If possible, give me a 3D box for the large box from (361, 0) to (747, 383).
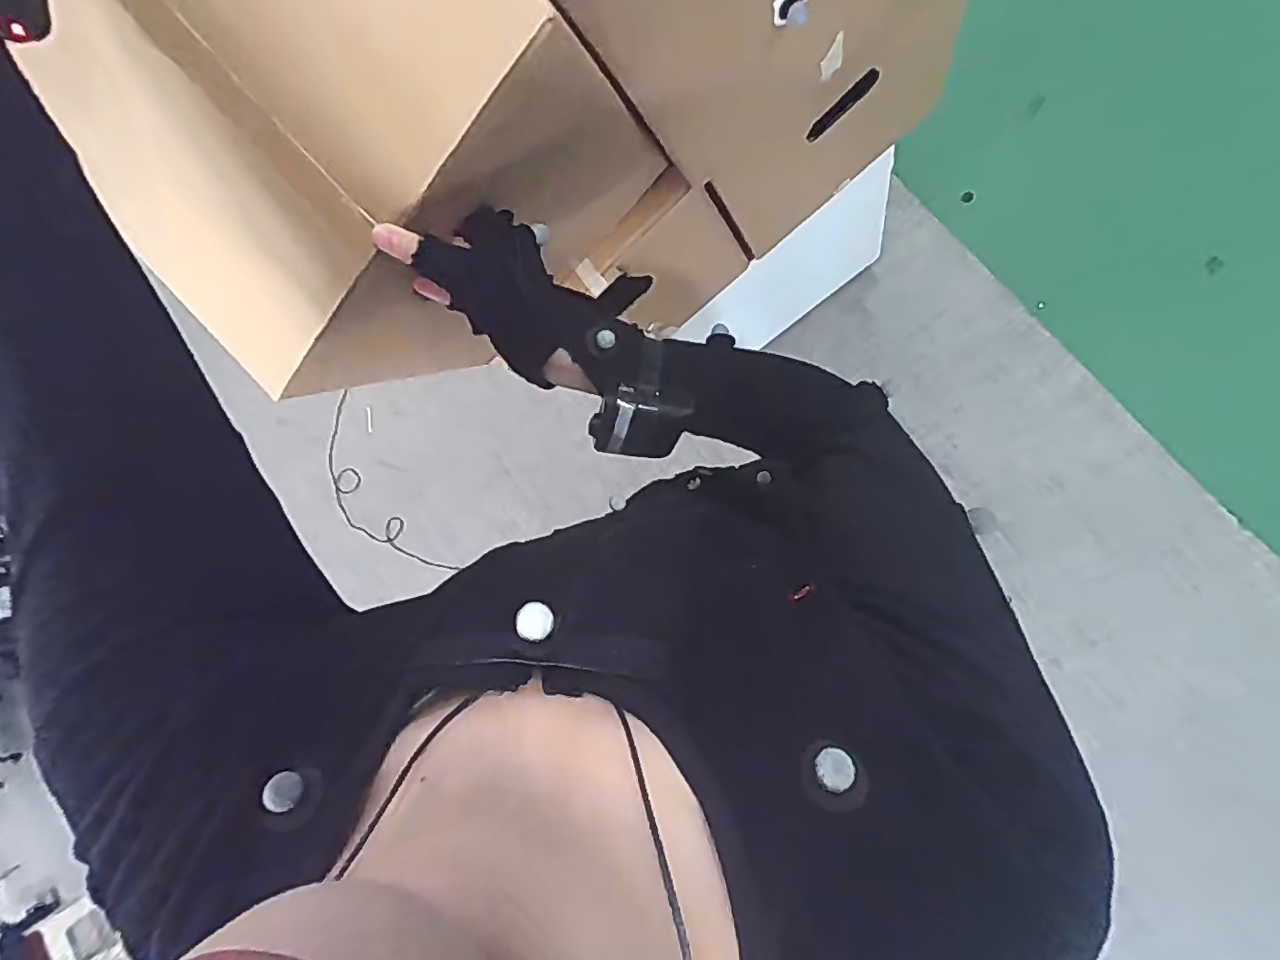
[{"bbox_3d":[-0.105,-0.403,0.793,0.320,0.320,0.408,-38,79,19],"label":"large box"}]
